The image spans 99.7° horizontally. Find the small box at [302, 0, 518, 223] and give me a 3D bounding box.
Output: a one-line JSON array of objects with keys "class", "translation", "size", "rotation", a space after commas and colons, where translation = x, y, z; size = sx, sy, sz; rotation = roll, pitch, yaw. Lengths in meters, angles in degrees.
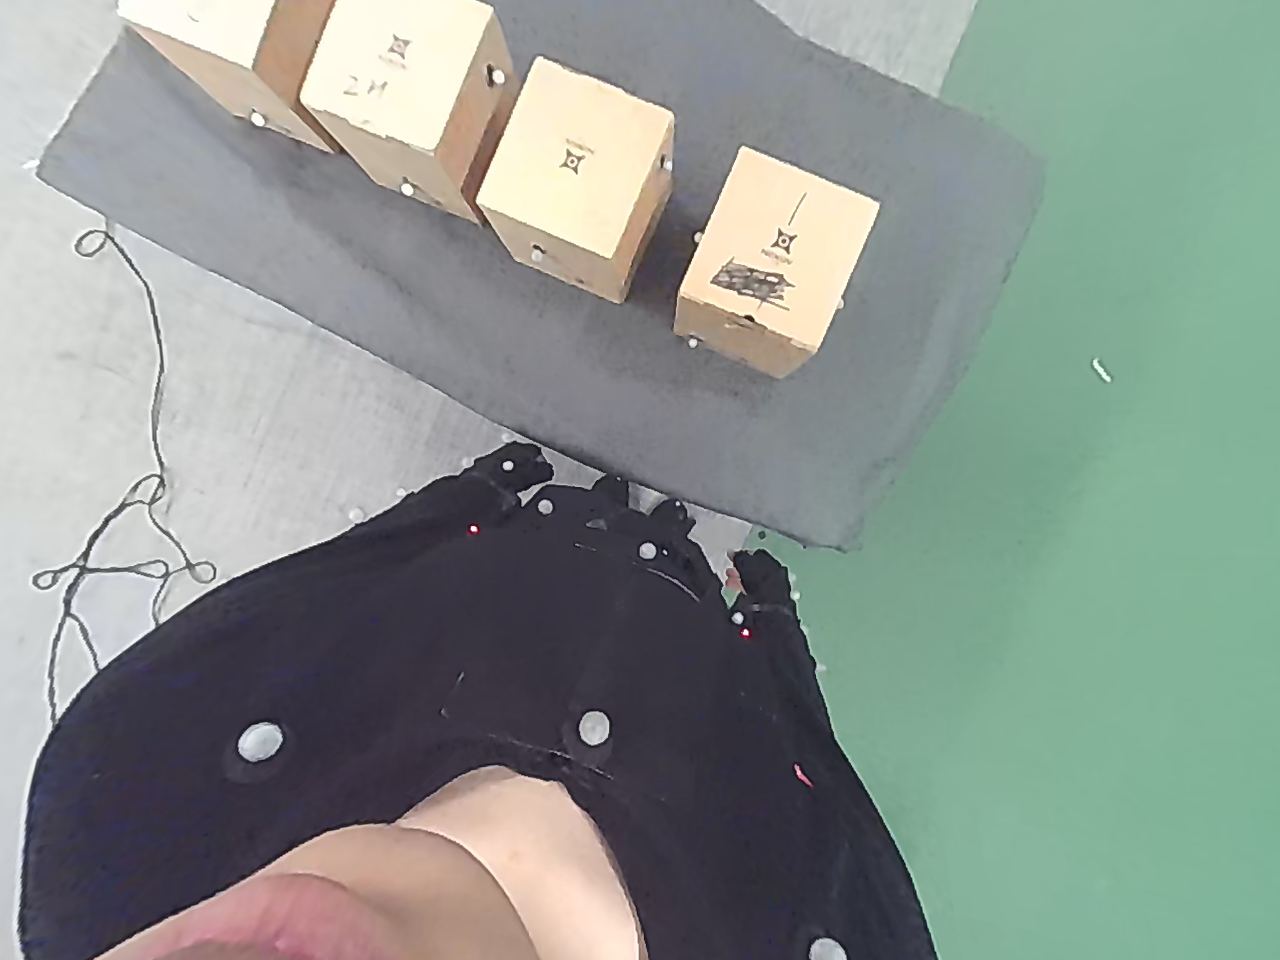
[{"class": "small box", "translation": [-0.264, -0.463, 0.672], "size": [0.168, 0.176, 0.179], "rotation": [23, 91, 1]}]

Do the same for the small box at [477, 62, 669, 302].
[{"class": "small box", "translation": [-0.071, -0.349, 0.672], "size": [0.168, 0.176, 0.179], "rotation": [23, 90, 1]}]
